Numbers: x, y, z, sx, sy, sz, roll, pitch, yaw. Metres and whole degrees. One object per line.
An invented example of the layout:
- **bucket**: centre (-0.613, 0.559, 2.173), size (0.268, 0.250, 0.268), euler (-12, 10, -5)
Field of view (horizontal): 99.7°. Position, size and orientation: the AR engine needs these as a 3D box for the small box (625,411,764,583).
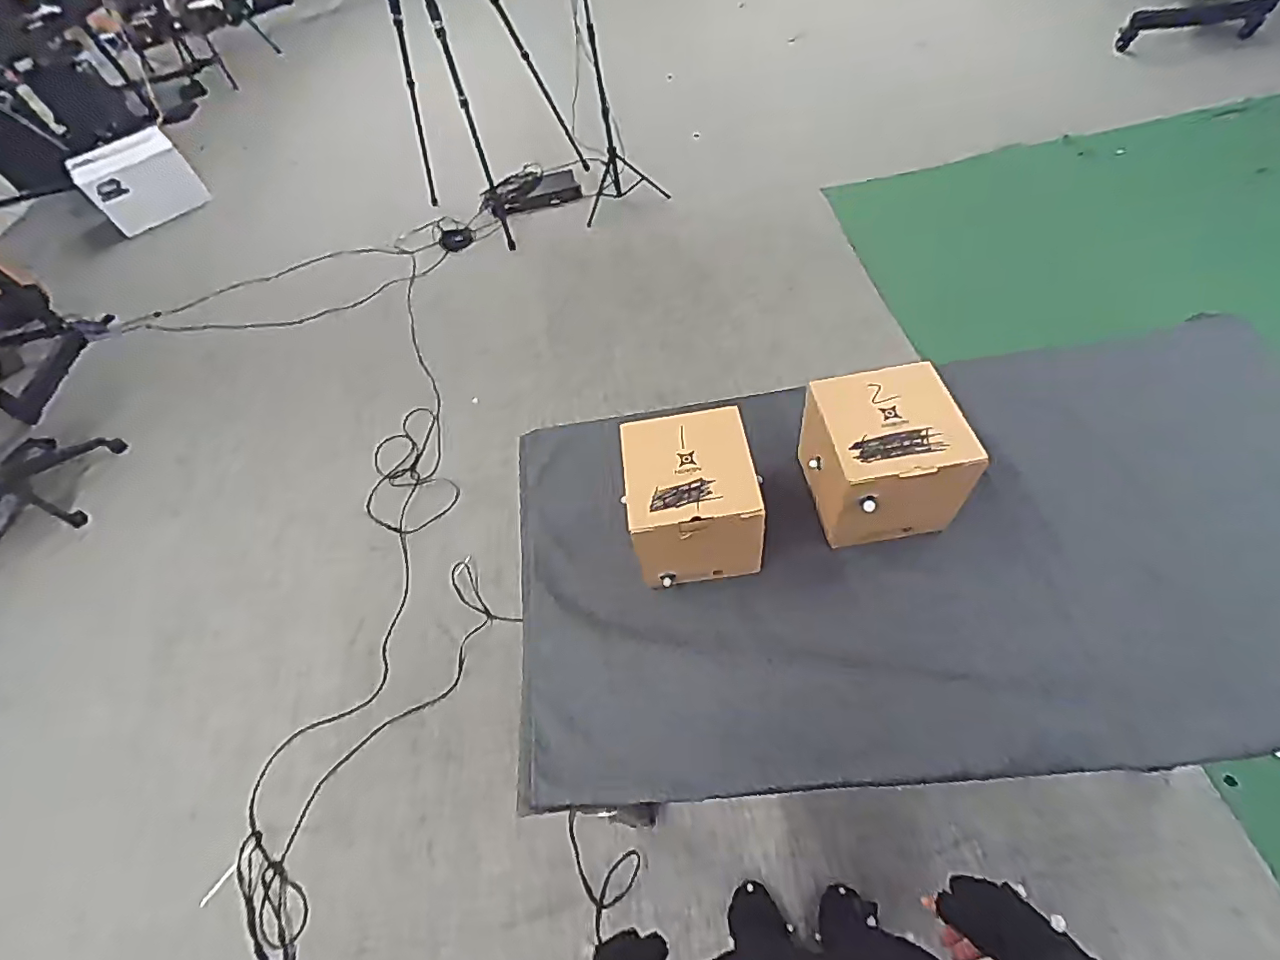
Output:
- **small box**: centre (0.077, 0.033, 0.763), size (0.168, 0.176, 0.179), euler (-9, 53, 4)
